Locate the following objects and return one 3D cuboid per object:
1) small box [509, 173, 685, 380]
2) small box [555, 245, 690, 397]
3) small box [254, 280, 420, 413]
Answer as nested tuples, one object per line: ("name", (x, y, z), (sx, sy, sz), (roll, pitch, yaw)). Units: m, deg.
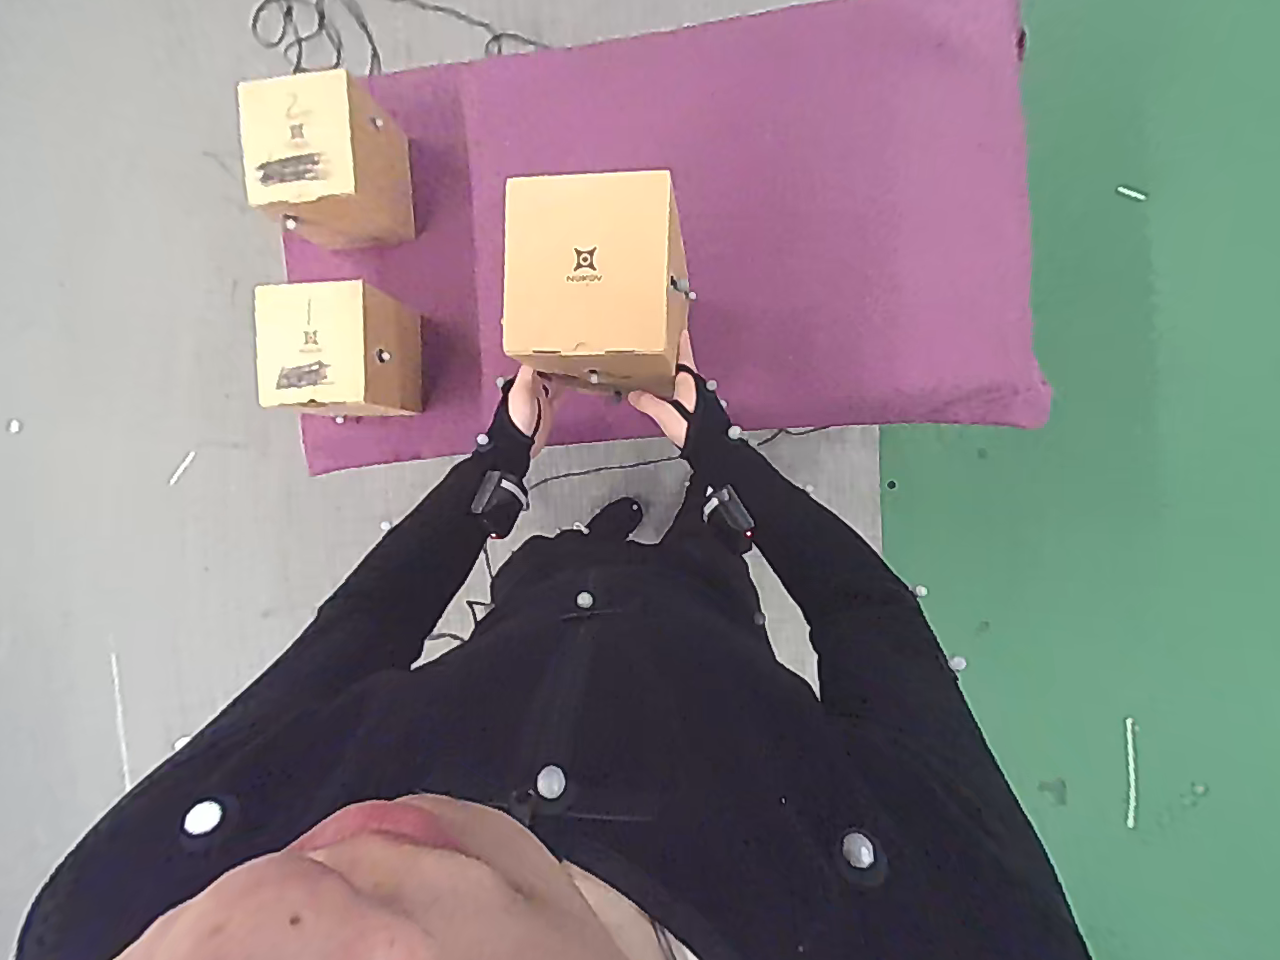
("small box", (-0.038, -0.213, 0.607), (0.168, 0.176, 0.179), (2, 93, 8))
("small box", (-0.017, -0.218, 0.768), (0.168, 0.176, 0.179), (3, 94, 7))
("small box", (-0.463, -0.197, 0.850), (0.168, 0.176, 0.179), (-1, 91, 5))
